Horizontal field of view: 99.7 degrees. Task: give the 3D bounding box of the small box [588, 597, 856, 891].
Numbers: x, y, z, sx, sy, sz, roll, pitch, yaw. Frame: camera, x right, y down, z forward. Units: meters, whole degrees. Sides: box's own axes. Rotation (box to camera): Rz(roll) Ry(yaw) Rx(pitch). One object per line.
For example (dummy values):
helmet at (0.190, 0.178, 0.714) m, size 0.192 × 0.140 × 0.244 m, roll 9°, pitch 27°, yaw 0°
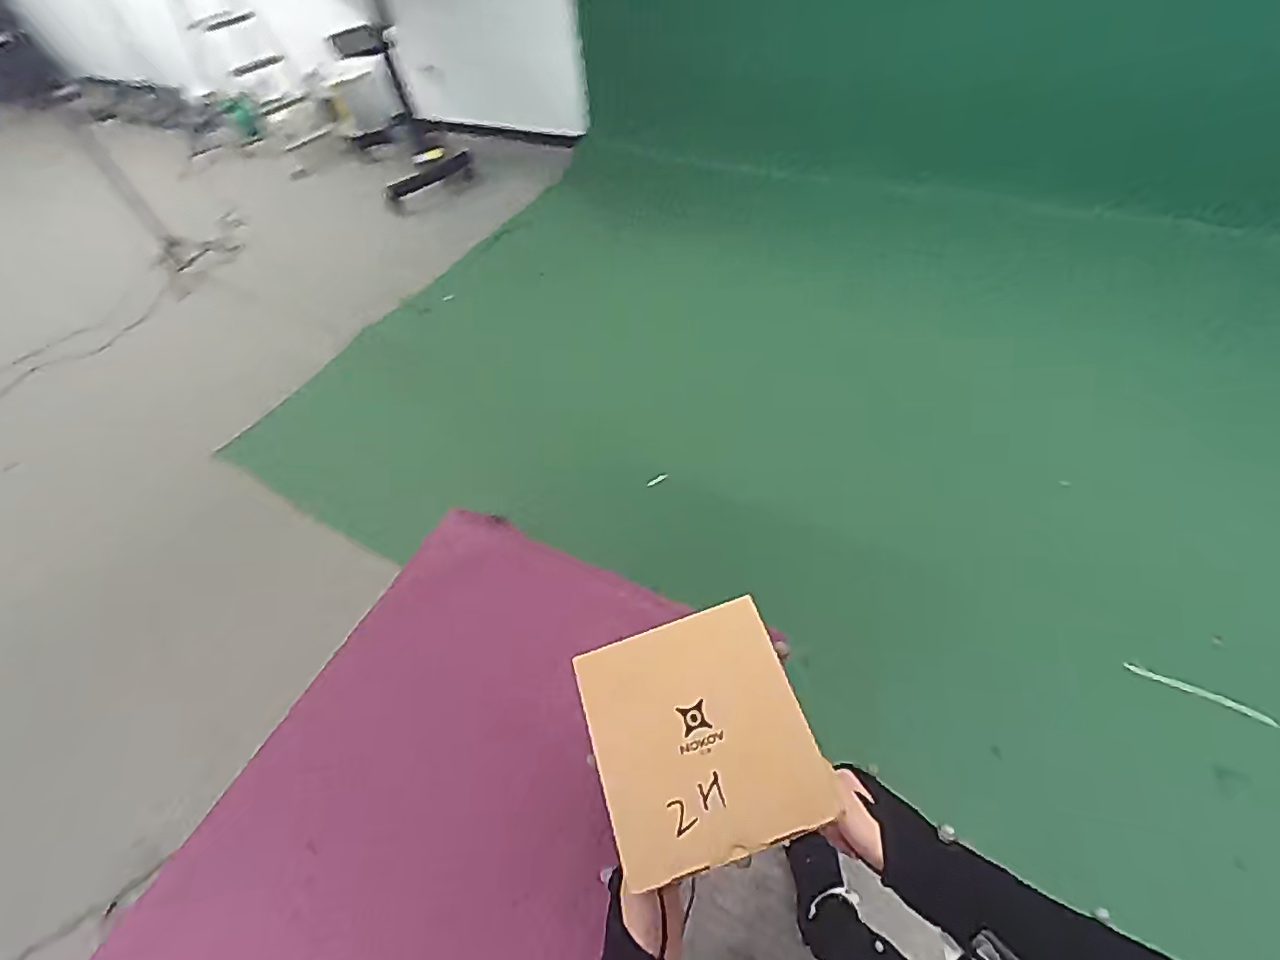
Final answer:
small box at (0.064, 0.234, 0.487) m, size 0.168 × 0.176 × 0.179 m, roll -18°, pitch 58°, yaw 0°
